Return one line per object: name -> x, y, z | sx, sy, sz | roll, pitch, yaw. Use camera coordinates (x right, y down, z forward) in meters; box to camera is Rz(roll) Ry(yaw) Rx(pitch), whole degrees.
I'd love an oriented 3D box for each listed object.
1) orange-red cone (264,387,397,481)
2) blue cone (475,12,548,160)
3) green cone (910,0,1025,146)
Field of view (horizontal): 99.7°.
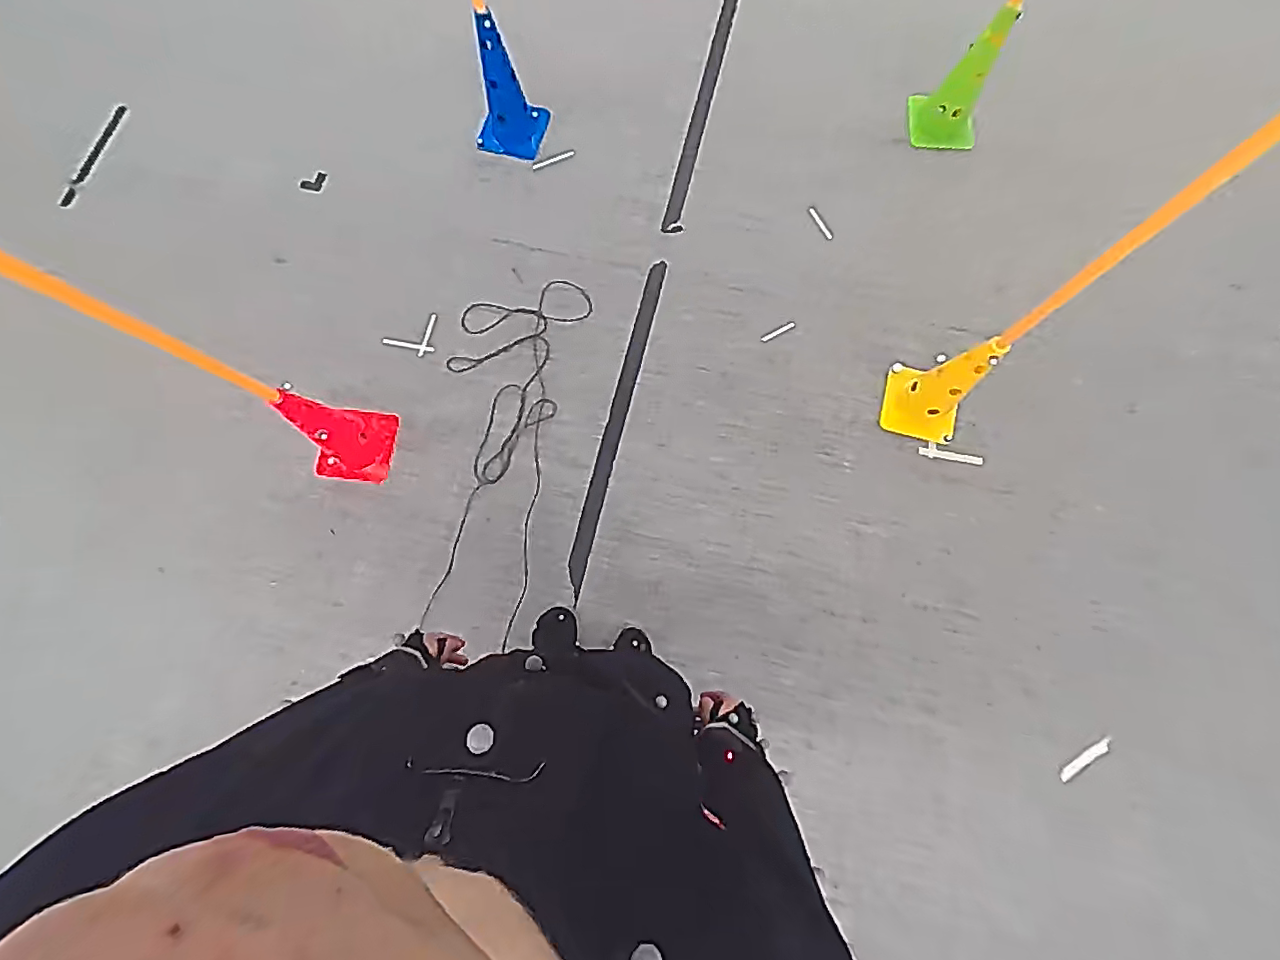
orange-red cone -> -0.775, -0.141, 1.311 | 0.199, 0.360, 0.198 | 8, 77, 1
blue cone -> -0.403, -1.156, 1.570 | 0.193, 0.380, 0.192 | 16, 78, 4
green cone -> 0.961, -1.187, 1.554 | 0.200, 0.368, 0.202 | 3, 78, 1
